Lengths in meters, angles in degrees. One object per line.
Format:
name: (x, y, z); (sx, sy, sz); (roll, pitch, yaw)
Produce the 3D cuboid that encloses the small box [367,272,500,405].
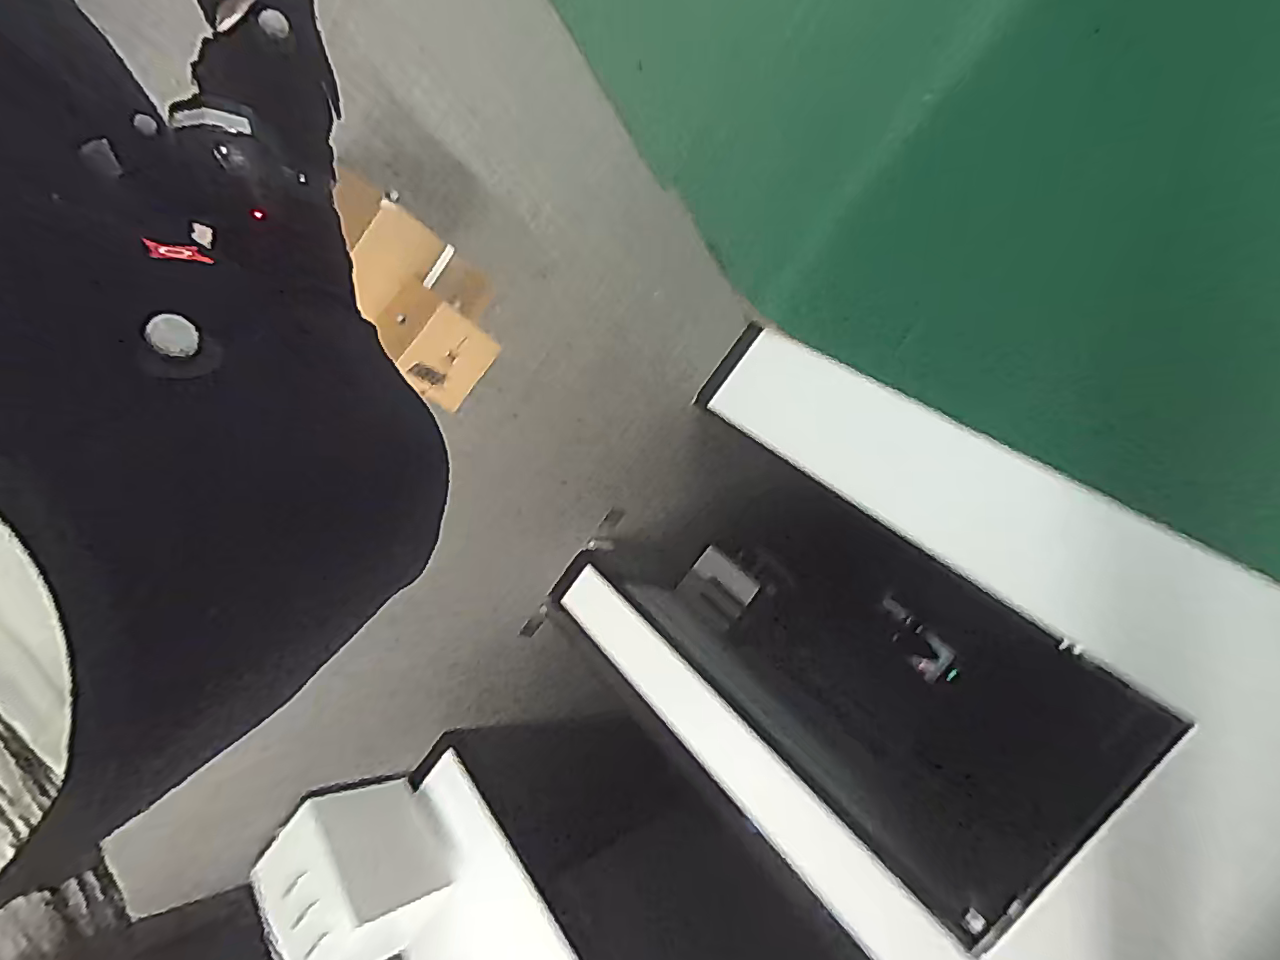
small box: (-0.433, -0.293, 1.120); (0.179, 0.176, 0.168); (-50, 145, -1)
